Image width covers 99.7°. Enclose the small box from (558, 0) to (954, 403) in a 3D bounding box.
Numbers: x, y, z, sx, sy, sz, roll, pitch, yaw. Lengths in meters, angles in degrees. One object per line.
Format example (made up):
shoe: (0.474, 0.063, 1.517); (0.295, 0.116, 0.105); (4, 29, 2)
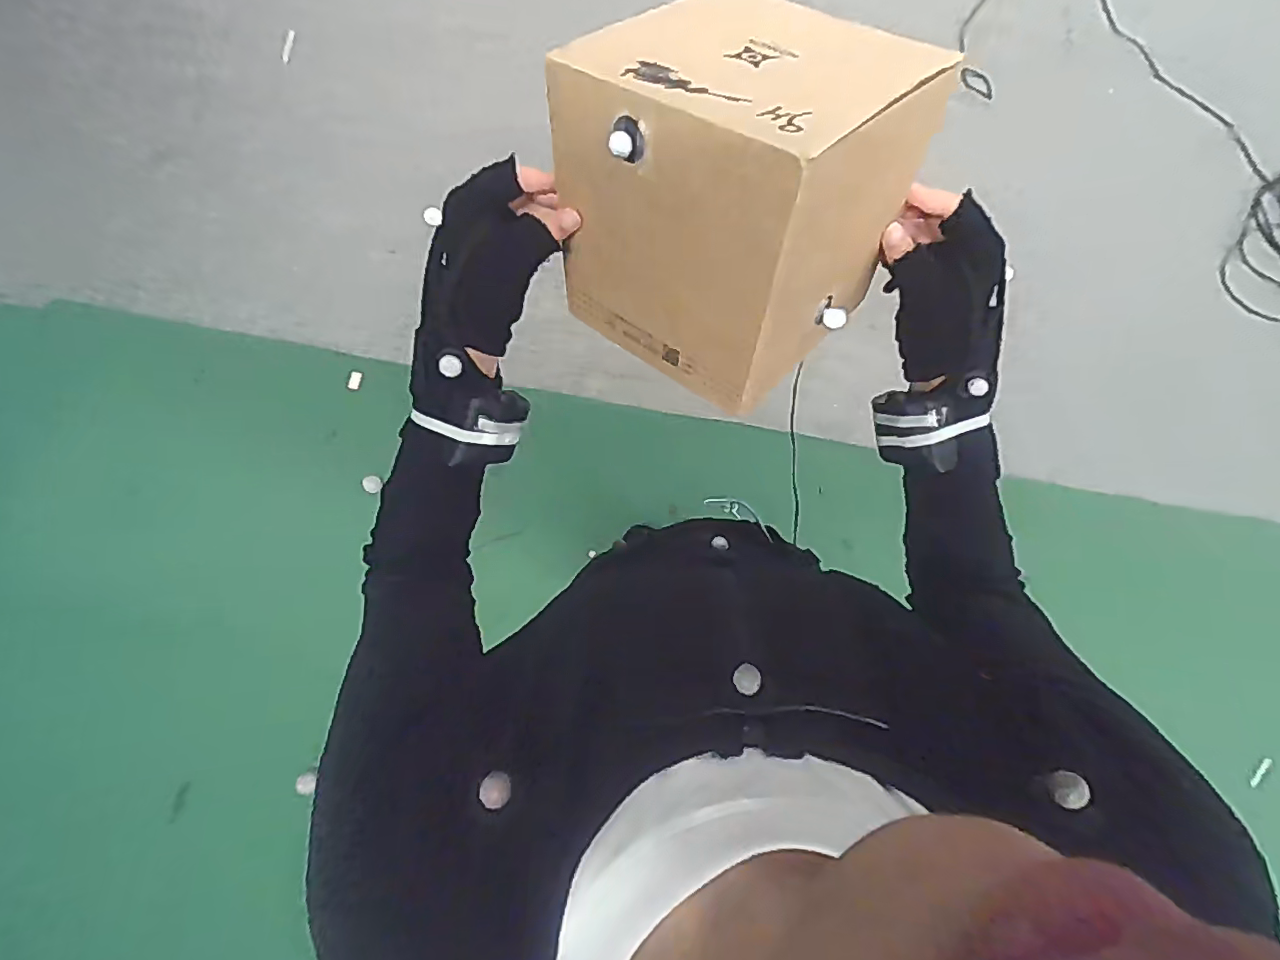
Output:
small box: (0.064, -0.188, 0.369); (0.168, 0.176, 0.179); (37, 61, 22)
